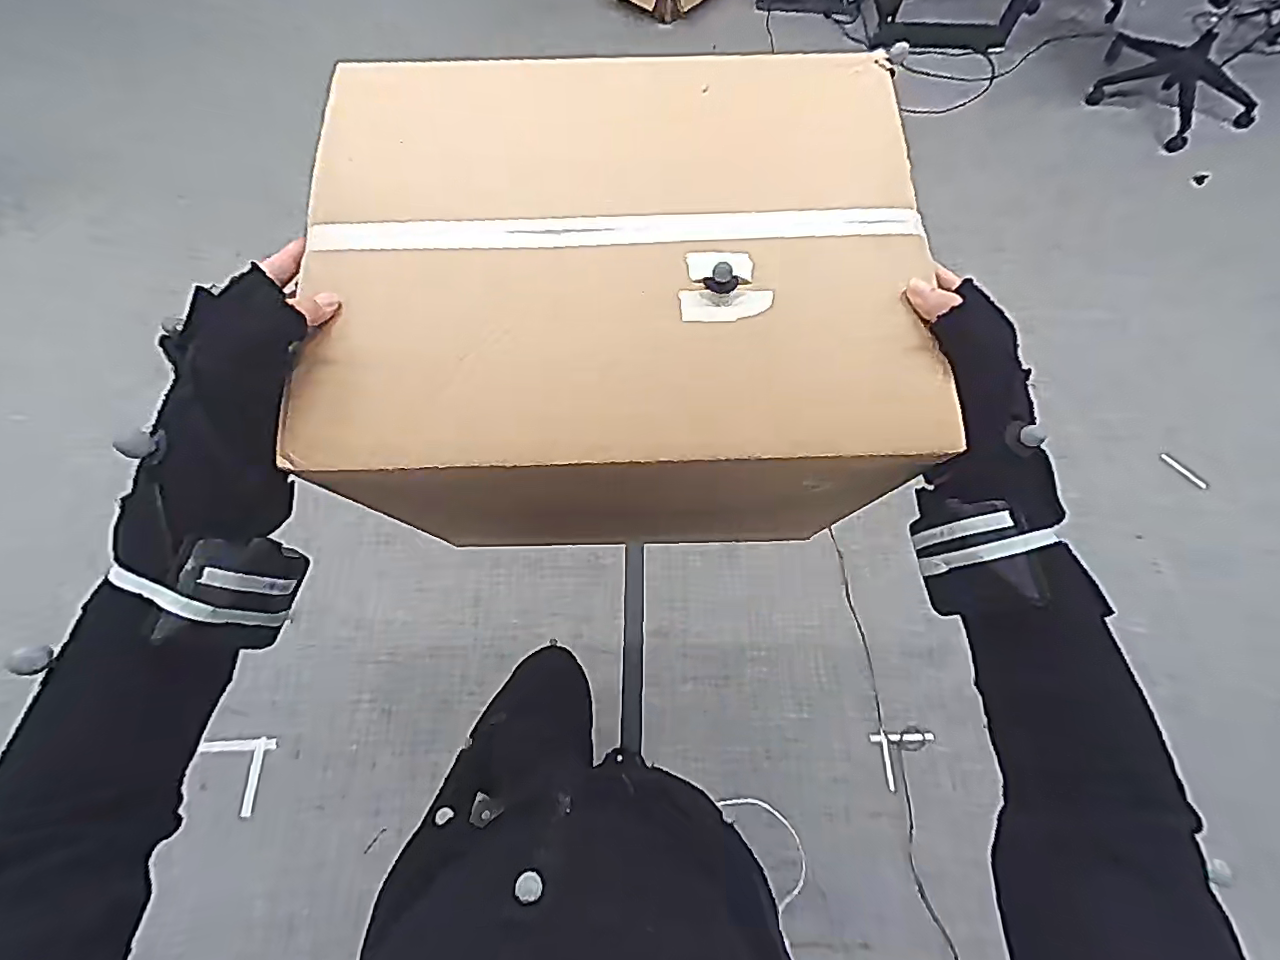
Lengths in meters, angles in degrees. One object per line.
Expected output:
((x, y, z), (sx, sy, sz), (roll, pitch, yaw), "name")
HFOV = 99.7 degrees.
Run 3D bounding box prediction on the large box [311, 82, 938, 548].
((-0.015, -0.118, 0.522), (0.408, 0.320, 0.320), (-1, 74, -1), "large box")
